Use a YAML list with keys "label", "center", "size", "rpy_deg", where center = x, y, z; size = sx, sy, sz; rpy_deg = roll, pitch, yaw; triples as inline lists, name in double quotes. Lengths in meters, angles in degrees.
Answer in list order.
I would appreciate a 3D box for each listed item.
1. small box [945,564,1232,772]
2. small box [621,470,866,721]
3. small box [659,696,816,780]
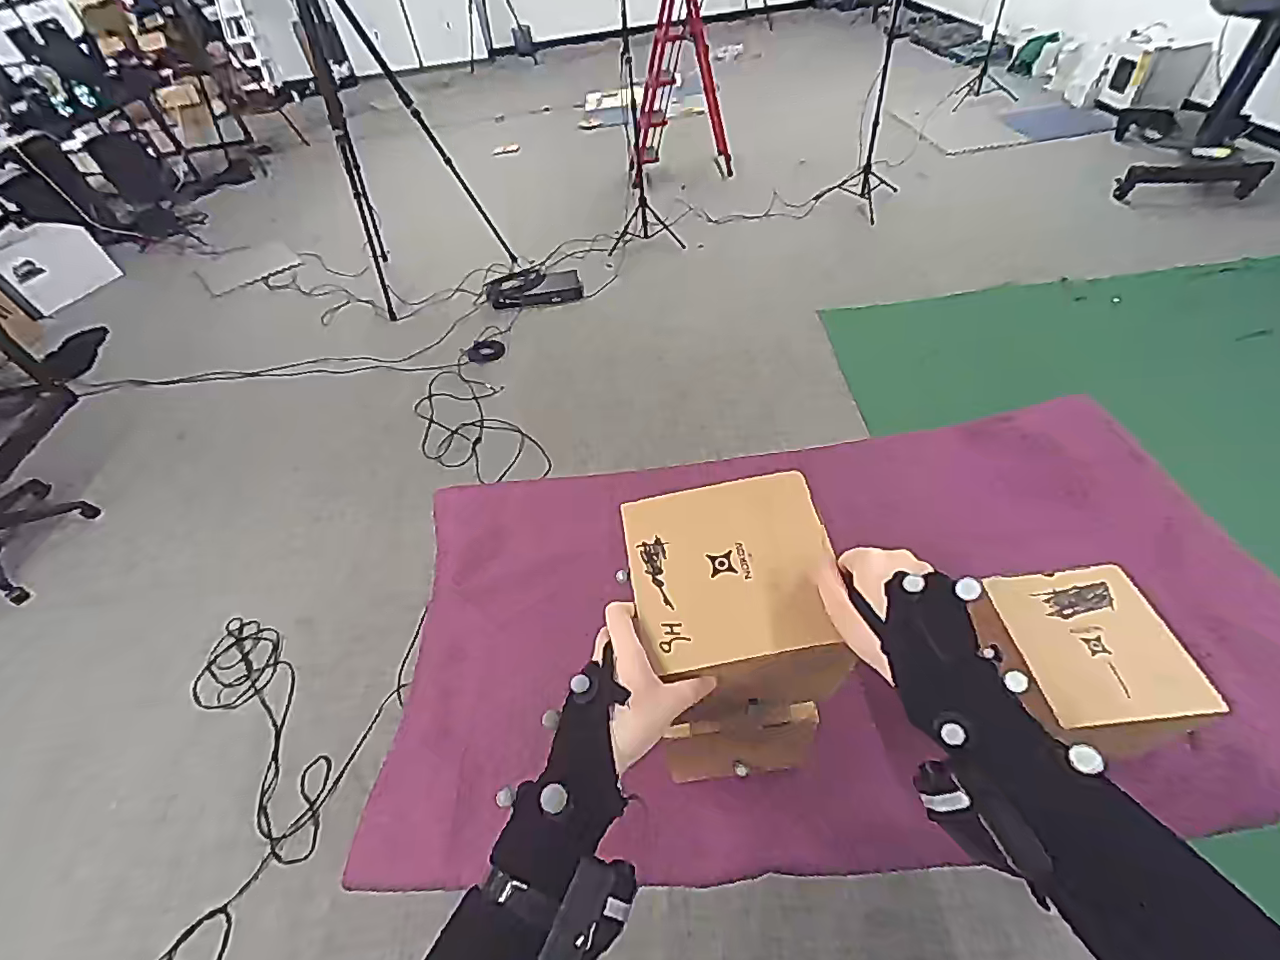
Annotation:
- label: "small box"
  center: [0.498, 0.224, 0.642]
  size: [0.168, 0.176, 0.179]
  rpy_deg: [-7, 48, 2]
- label: "small box"
  center: [0.084, 0.115, 0.517]
  size: [0.179, 0.176, 0.168]
  rpy_deg: [-10, 52, 1]
- label: "small box"
  center: [0.105, 0.248, 0.675]
  size: [0.168, 0.176, 0.179]
  rpy_deg: [-8, 46, 2]
